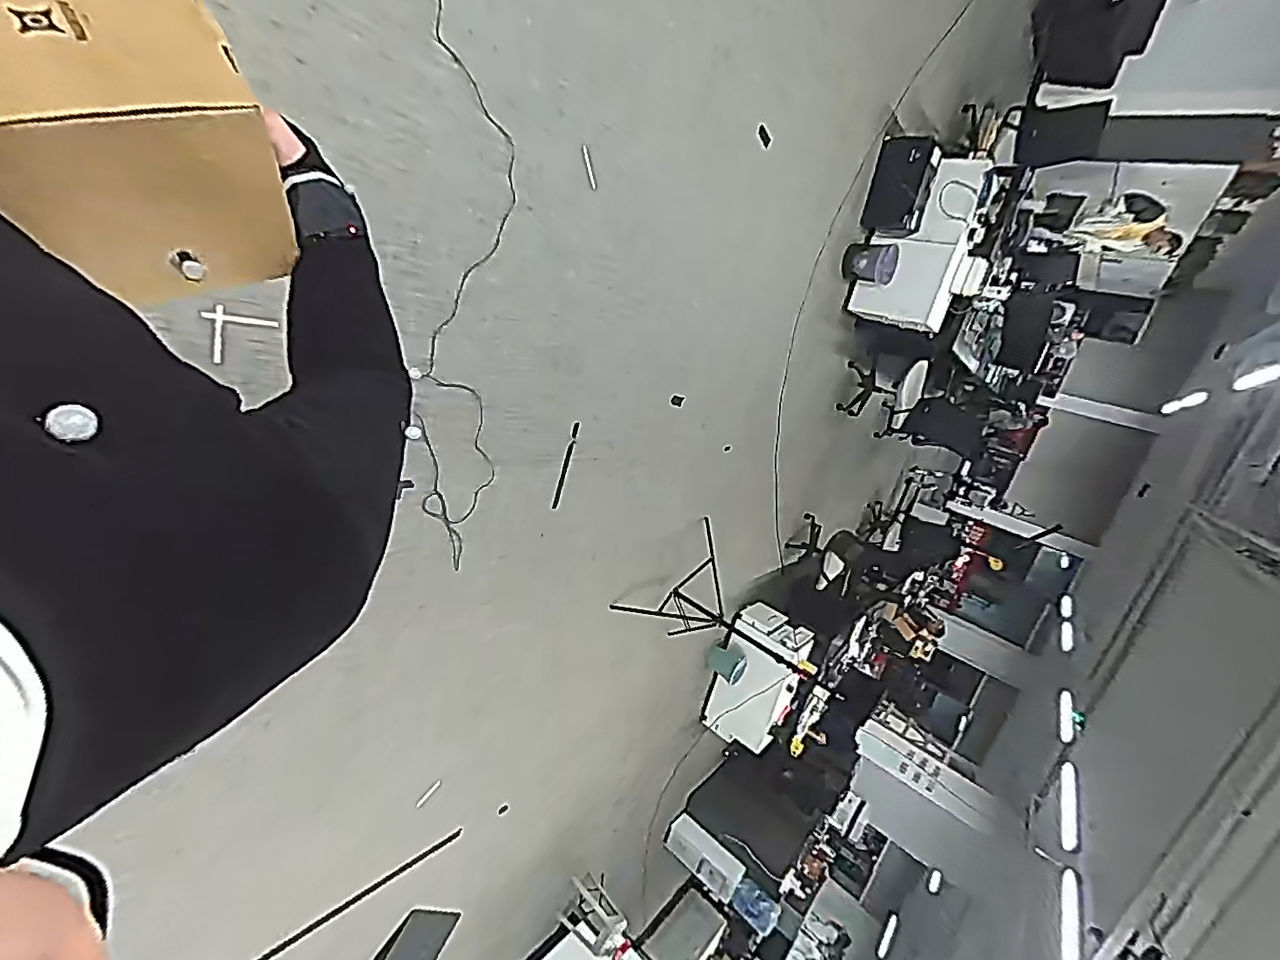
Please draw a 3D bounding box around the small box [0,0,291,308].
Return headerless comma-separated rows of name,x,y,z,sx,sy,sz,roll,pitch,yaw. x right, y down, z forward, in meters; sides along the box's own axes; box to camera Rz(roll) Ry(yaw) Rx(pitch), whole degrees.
small box,-0.412,-0.270,0.437,0.179,0.168,0.176,-28,170,-30
